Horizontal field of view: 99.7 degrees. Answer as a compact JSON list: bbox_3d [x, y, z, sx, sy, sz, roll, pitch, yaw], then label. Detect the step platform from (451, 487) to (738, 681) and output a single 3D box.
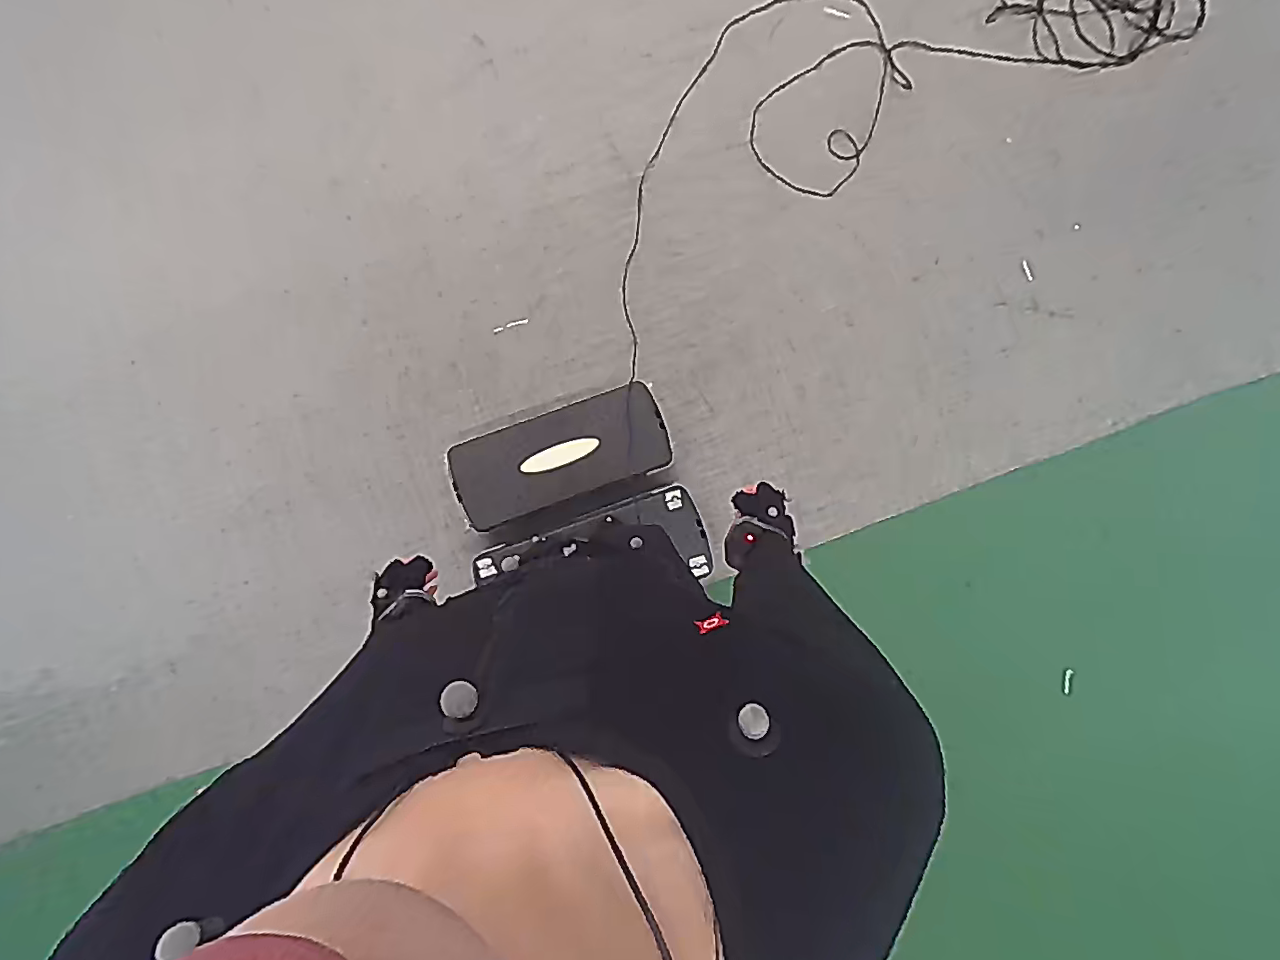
[{"bbox_3d":[-0.110,0.254,1.391,0.684,0.204,0.286,-20,87,-4],"label":"step platform"}]
